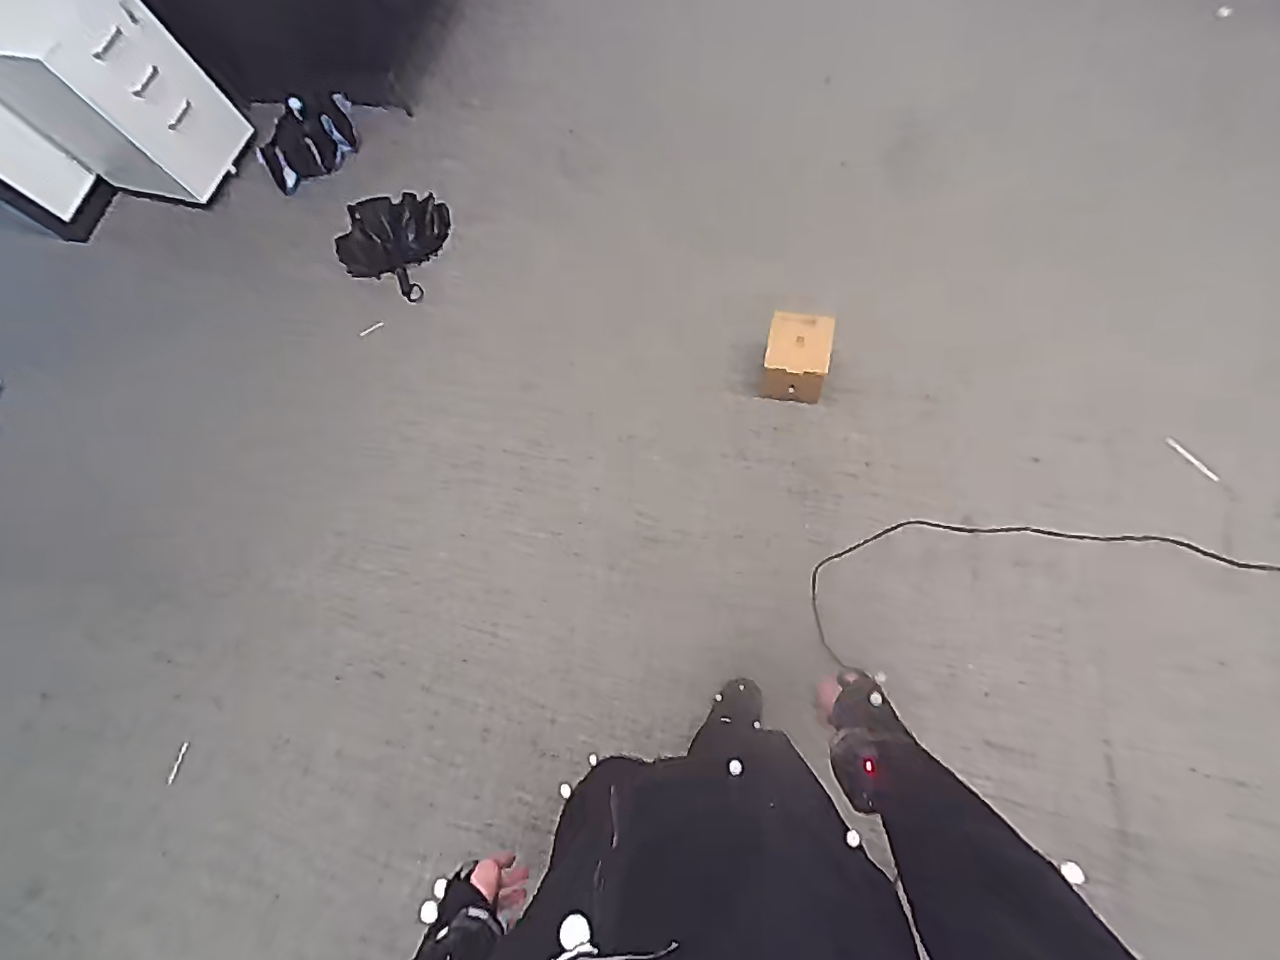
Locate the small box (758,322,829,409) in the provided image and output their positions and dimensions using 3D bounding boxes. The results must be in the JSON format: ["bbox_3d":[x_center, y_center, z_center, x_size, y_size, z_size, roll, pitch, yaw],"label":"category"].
[{"bbox_3d":[0.429,-0.318,1.527,0.168,0.176,0.179,9,73,13],"label":"small box"}]
